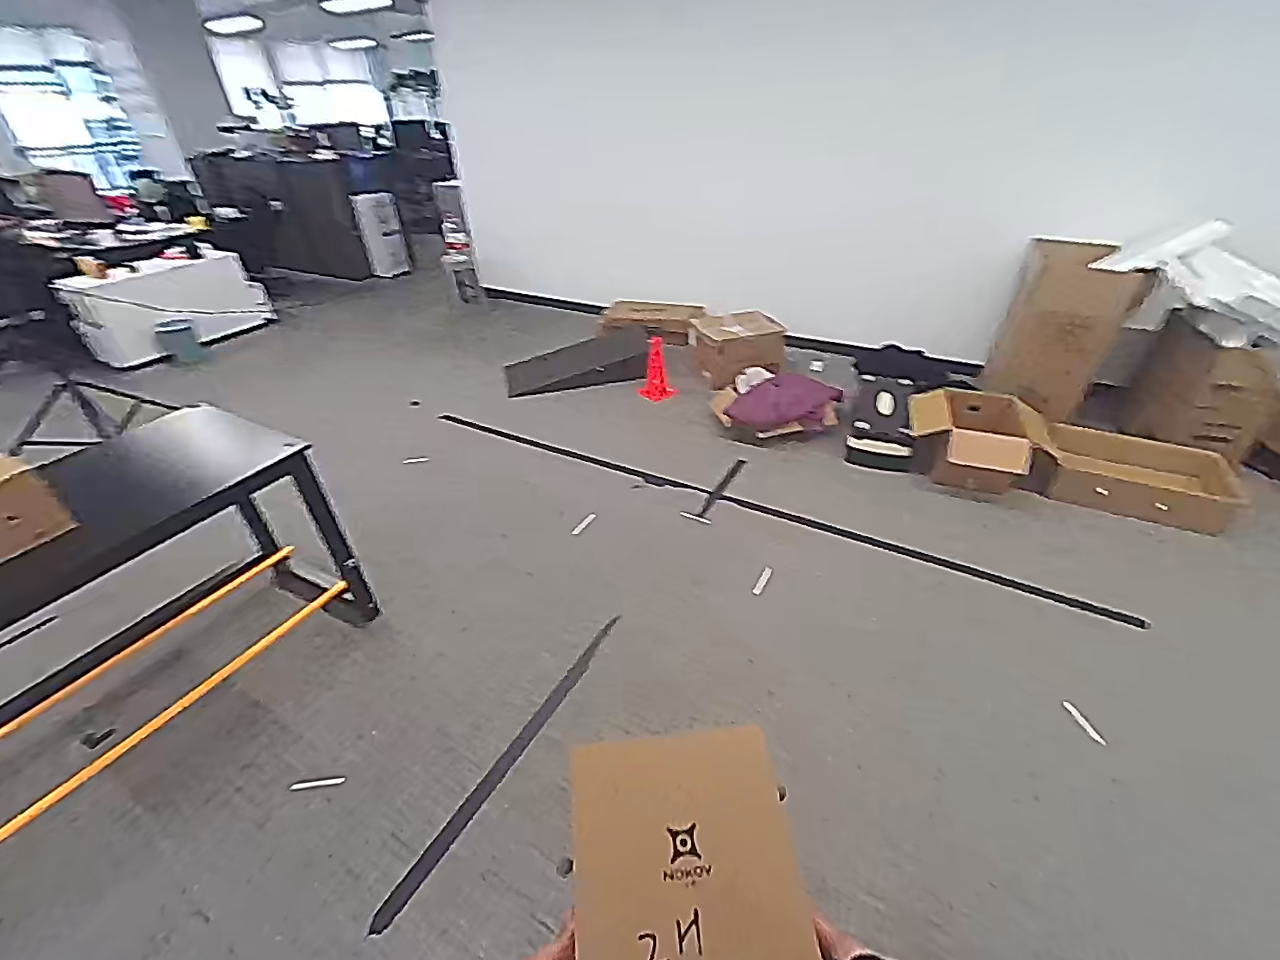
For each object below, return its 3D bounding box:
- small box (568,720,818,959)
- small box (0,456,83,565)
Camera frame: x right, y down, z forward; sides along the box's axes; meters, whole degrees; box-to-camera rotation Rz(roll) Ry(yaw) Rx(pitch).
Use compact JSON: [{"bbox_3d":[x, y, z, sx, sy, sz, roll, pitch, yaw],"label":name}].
[{"bbox_3d":[0.027,0.334,0.461,0.168,0.176,0.179,-5,45,-6],"label":"small box"},{"bbox_3d":[-1.451,0.073,1.237,0.179,0.176,0.168,16,39,24],"label":"small box"}]
